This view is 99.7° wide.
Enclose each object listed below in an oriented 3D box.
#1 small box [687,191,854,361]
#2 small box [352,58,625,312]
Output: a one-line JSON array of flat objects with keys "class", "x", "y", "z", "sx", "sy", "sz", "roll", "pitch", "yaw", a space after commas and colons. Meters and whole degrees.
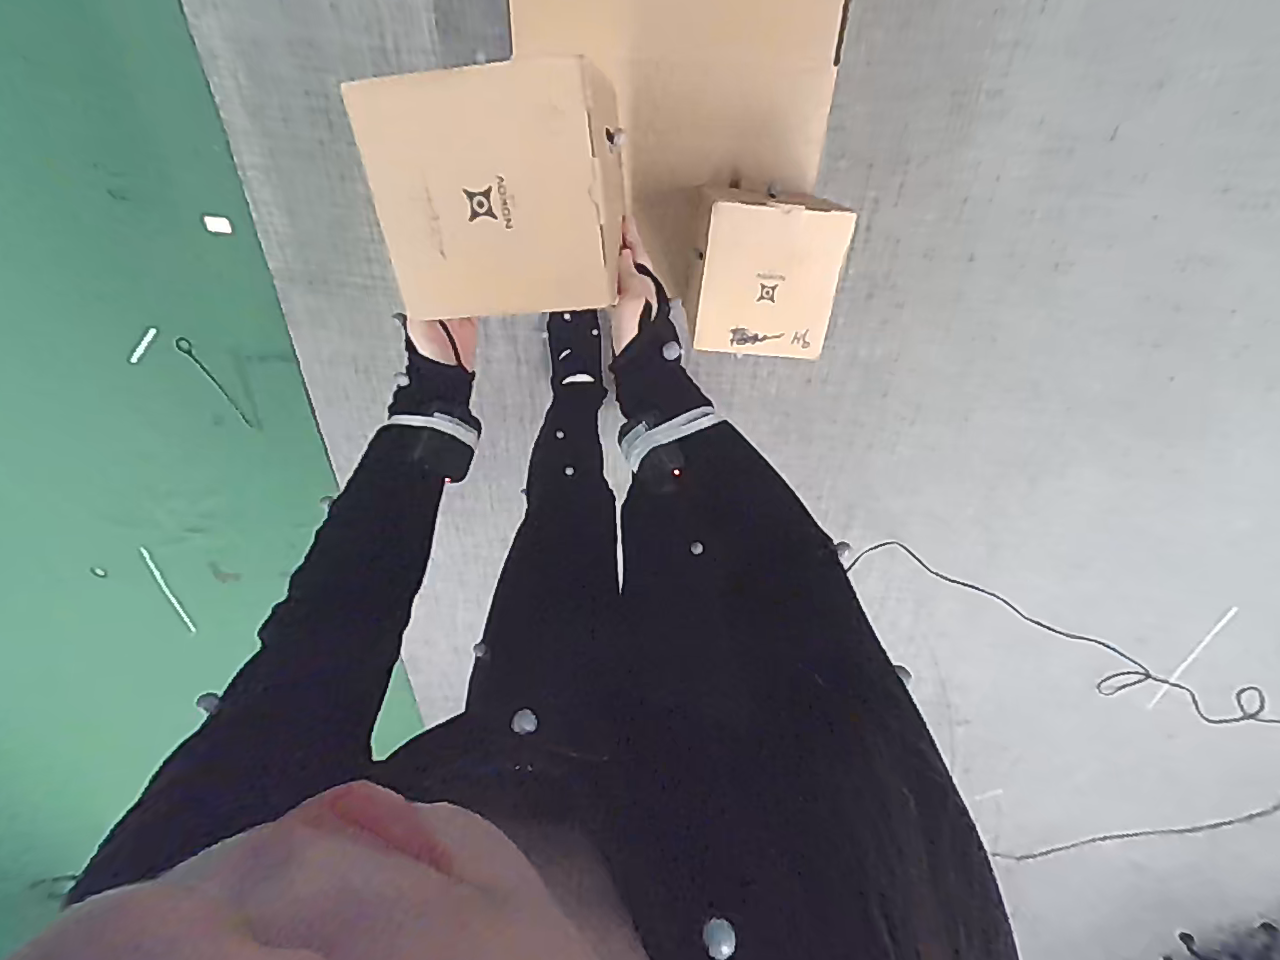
[{"class": "small box", "x": 0.155, "y": -0.275, "z": 0.716, "sx": 0.168, "sy": 0.176, "sz": 0.179, "roll": 5, "pitch": 122, "yaw": -1}, {"class": "small box", "x": -0.108, "y": -0.254, "z": 0.481, "sx": 0.179, "sy": 0.176, "sz": 0.168, "roll": -1, "pitch": 119, "yaw": 7}]
